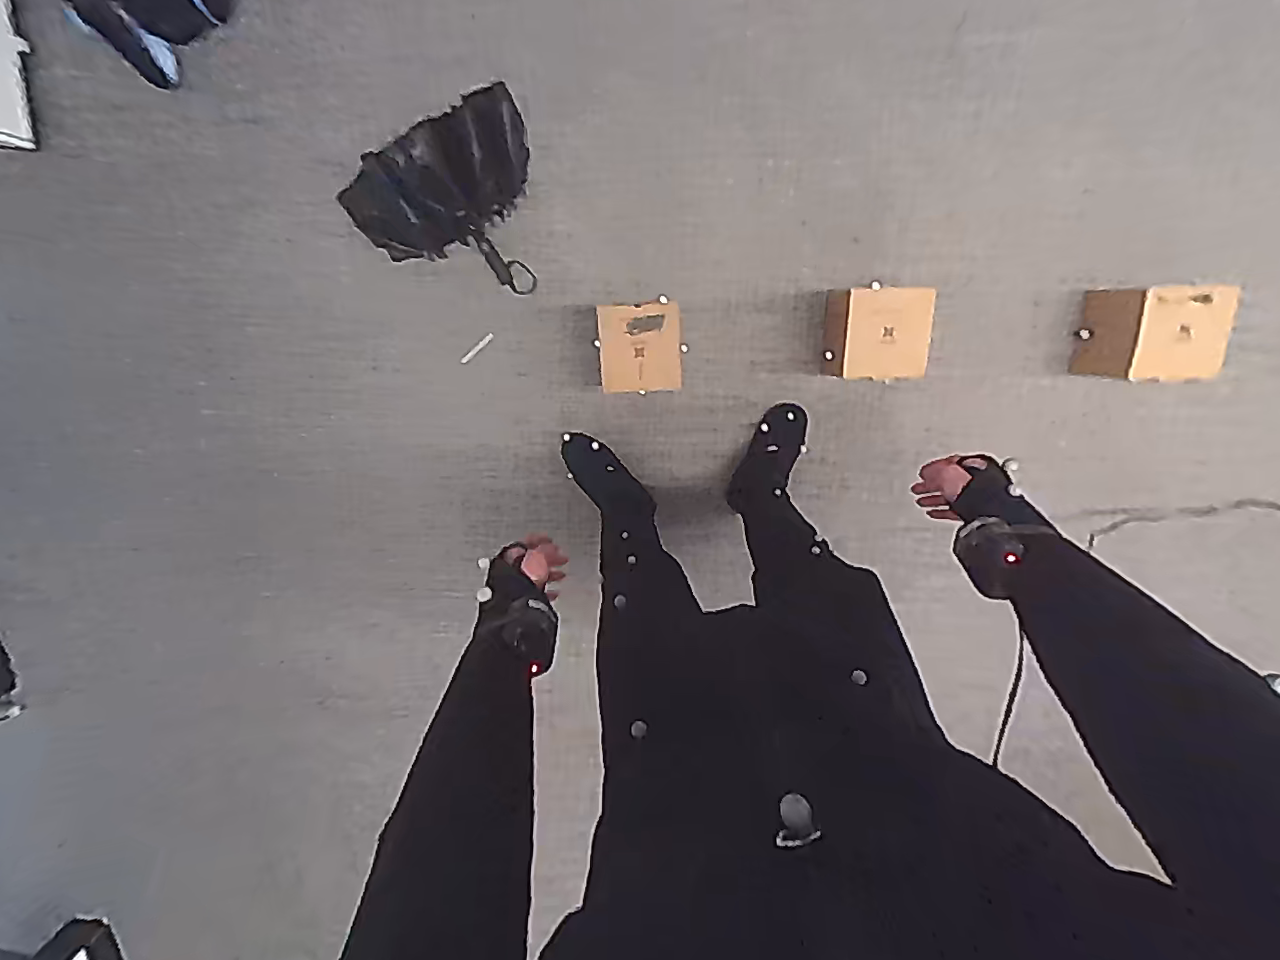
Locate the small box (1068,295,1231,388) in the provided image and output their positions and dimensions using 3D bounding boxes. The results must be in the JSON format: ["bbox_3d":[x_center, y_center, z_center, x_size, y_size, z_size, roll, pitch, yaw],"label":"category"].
[{"bbox_3d":[1.041,-0.289,1.124,0.168,0.176,0.179,0,105,3],"label":"small box"}]

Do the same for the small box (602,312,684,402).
[{"bbox_3d":[0.011,-0.270,1.187,0.168,0.176,0.179,-2,105,4],"label":"small box"}]

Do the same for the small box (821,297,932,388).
[{"bbox_3d":[0.495,-0.292,1.158,0.168,0.176,0.179,-1,103,3],"label":"small box"}]
